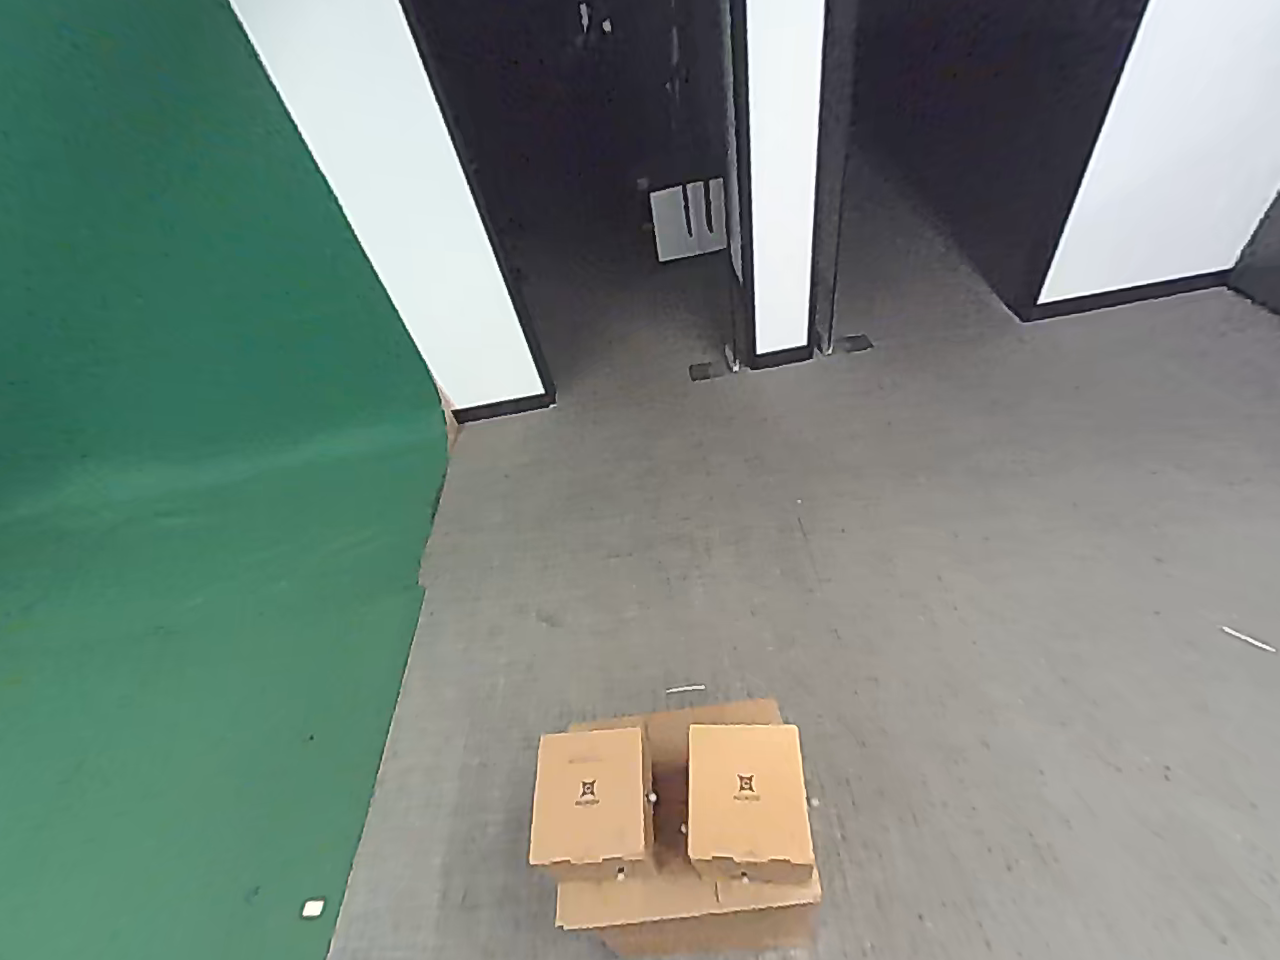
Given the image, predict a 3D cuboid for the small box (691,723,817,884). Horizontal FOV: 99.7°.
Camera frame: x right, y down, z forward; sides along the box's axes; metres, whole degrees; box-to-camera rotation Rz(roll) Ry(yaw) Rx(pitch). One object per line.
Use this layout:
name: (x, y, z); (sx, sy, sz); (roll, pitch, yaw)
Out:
small box: (0.169, 0.491, 0.824); (0.168, 0.176, 0.179); (-5, 46, 11)

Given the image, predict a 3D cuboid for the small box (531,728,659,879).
small box: (-0.062, 0.517, 0.858); (0.168, 0.176, 0.179); (-7, 46, 5)
